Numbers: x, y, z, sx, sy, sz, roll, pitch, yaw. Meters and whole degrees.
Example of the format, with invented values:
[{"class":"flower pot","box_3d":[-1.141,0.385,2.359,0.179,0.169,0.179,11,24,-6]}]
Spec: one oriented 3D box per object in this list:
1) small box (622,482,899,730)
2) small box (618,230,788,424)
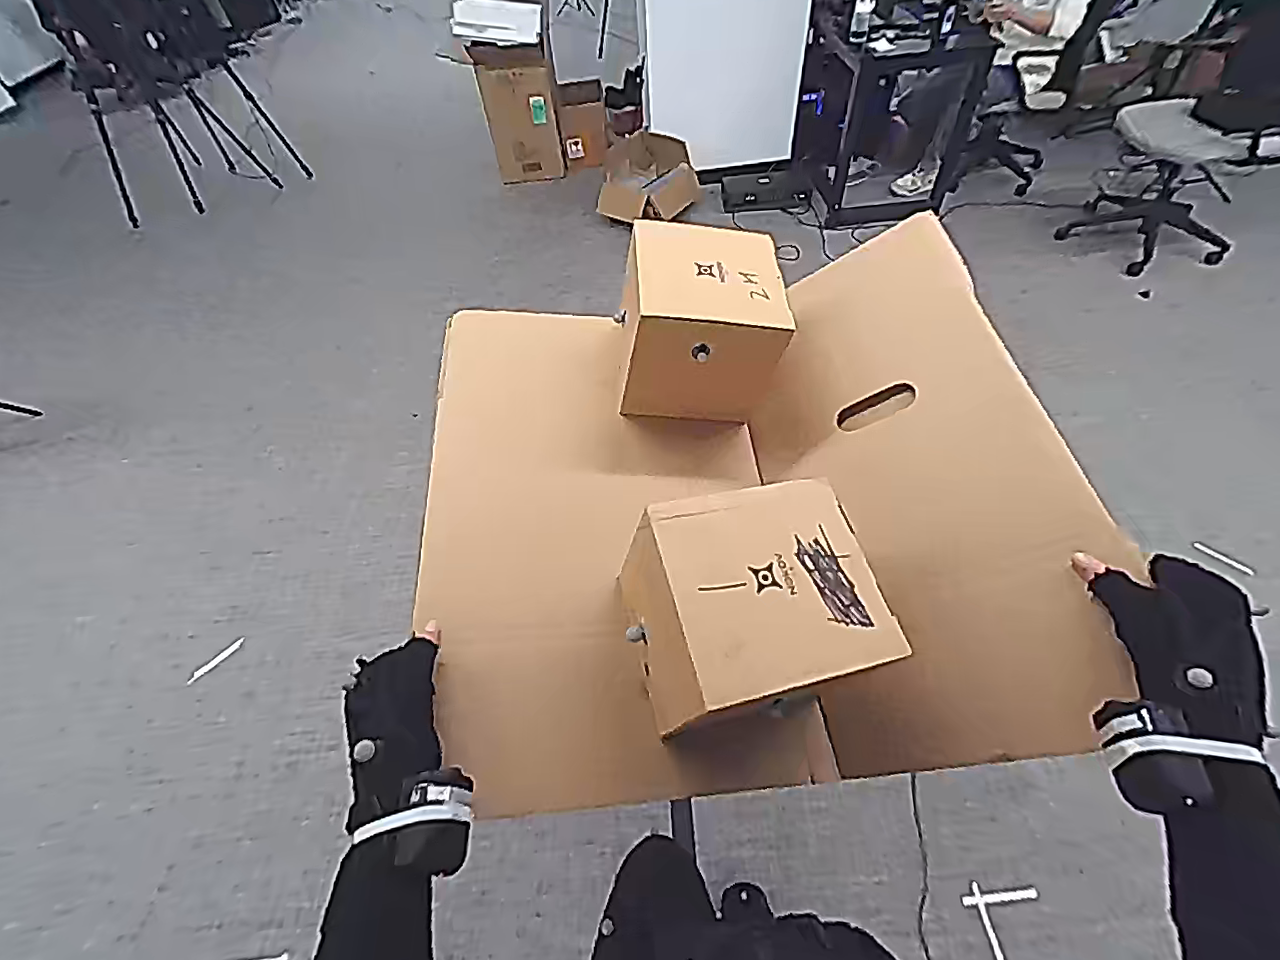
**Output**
[{"class":"small box","box_3d":[0.093,0.122,0.510,0.179,0.176,0.168,-9,61,-15]},{"class":"small box","box_3d":[0.065,-0.188,0.694,0.179,0.176,0.168,3,59,-9]}]
